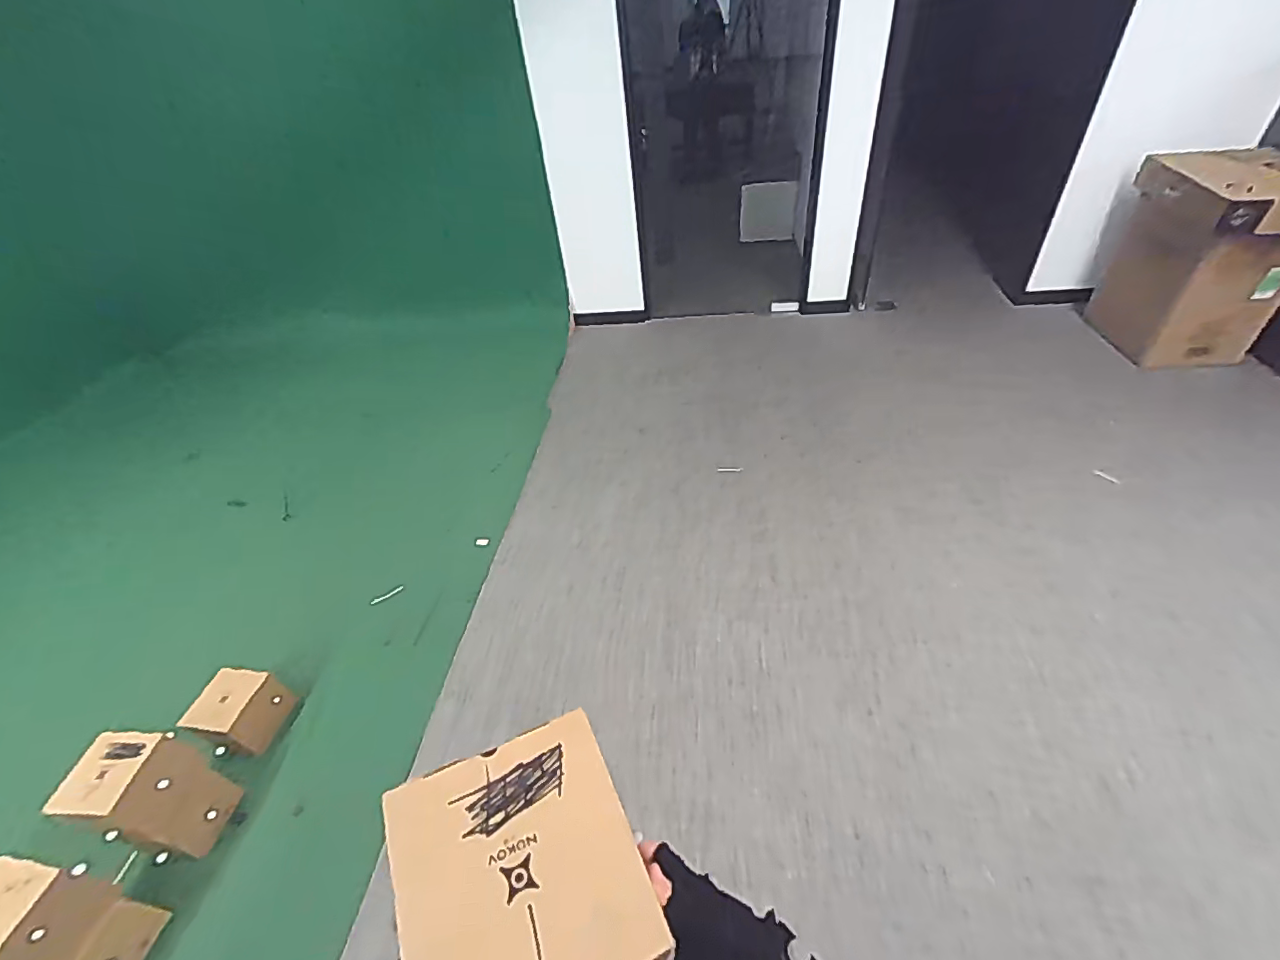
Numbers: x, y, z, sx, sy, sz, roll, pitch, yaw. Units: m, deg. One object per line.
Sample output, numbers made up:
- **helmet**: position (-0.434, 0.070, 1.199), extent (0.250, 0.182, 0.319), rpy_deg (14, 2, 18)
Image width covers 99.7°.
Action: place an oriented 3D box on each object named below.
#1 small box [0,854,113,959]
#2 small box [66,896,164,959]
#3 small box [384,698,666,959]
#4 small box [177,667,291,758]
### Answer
- **small box**: position (-1.237, 0.883, 1.078), extent (0.168, 0.176, 0.179), rpy_deg (3, 42, 11)
- **small box**: position (-1.213, 1.013, 1.177), extent (0.179, 0.176, 0.168), rpy_deg (3, 42, 12)
- **small box**: position (-0.093, 0.320, 0.442), extent (0.168, 0.176, 0.179), rpy_deg (-16, 48, -18)
- **small box**: position (-1.155, 0.672, 1.562), extent (0.168, 0.176, 0.179), rpy_deg (3, 42, 11)
